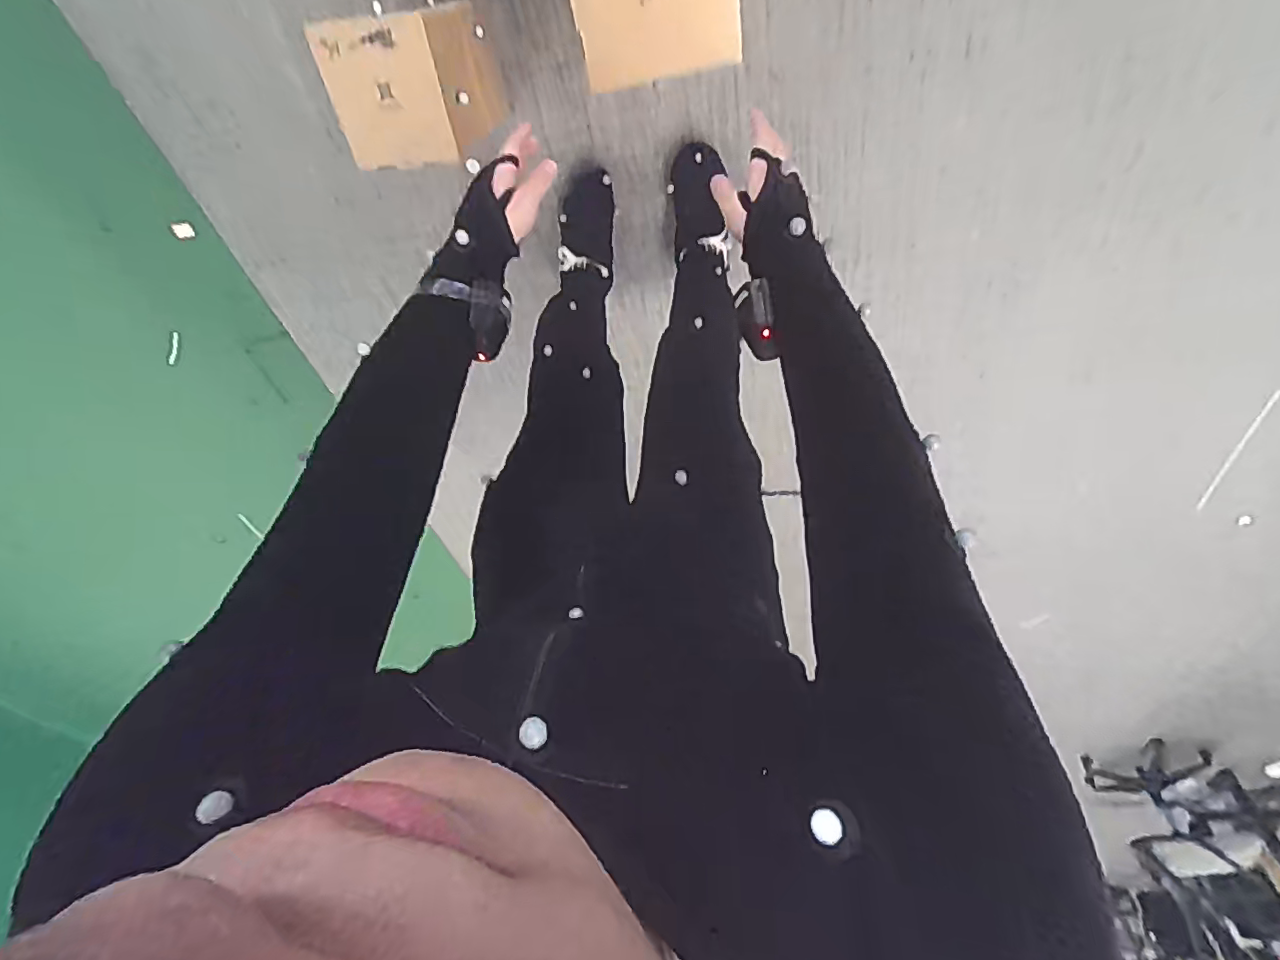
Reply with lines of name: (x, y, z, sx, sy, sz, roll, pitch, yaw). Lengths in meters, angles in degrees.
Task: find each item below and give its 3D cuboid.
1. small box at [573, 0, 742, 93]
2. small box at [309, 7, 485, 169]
small box: (0.017, -0.571, 0.618, 0.179, 0.176, 0.168, -6, 133, 9)
small box: (-0.354, -0.601, 0.831, 0.168, 0.176, 0.179, -2, 133, 4)
